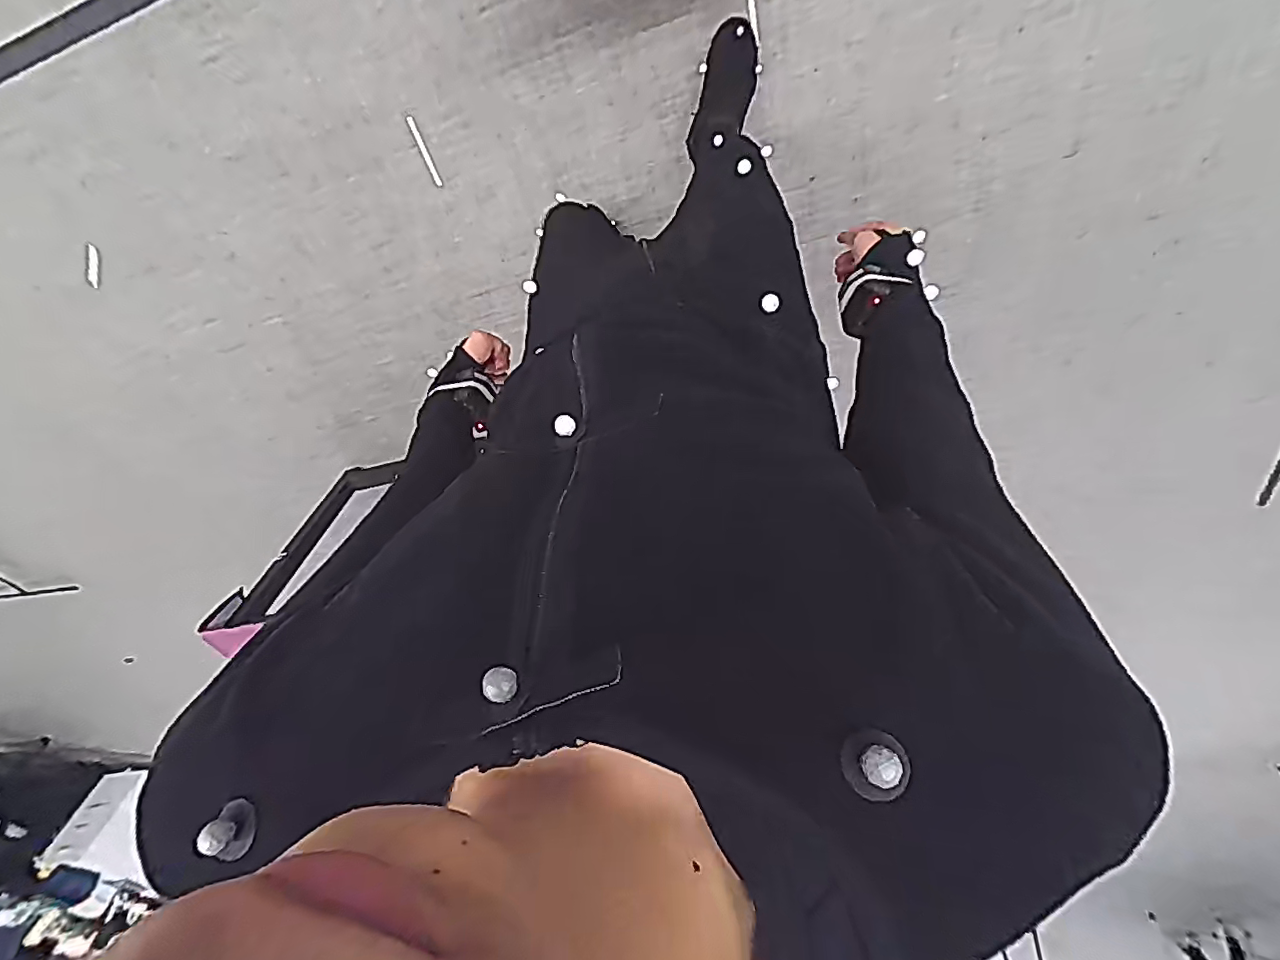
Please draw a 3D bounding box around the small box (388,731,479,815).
[{"bbox_3d":[-0.606,0.874,1.619,0.179,0.176,0.168,-19,124,20],"label":"small box"}]
